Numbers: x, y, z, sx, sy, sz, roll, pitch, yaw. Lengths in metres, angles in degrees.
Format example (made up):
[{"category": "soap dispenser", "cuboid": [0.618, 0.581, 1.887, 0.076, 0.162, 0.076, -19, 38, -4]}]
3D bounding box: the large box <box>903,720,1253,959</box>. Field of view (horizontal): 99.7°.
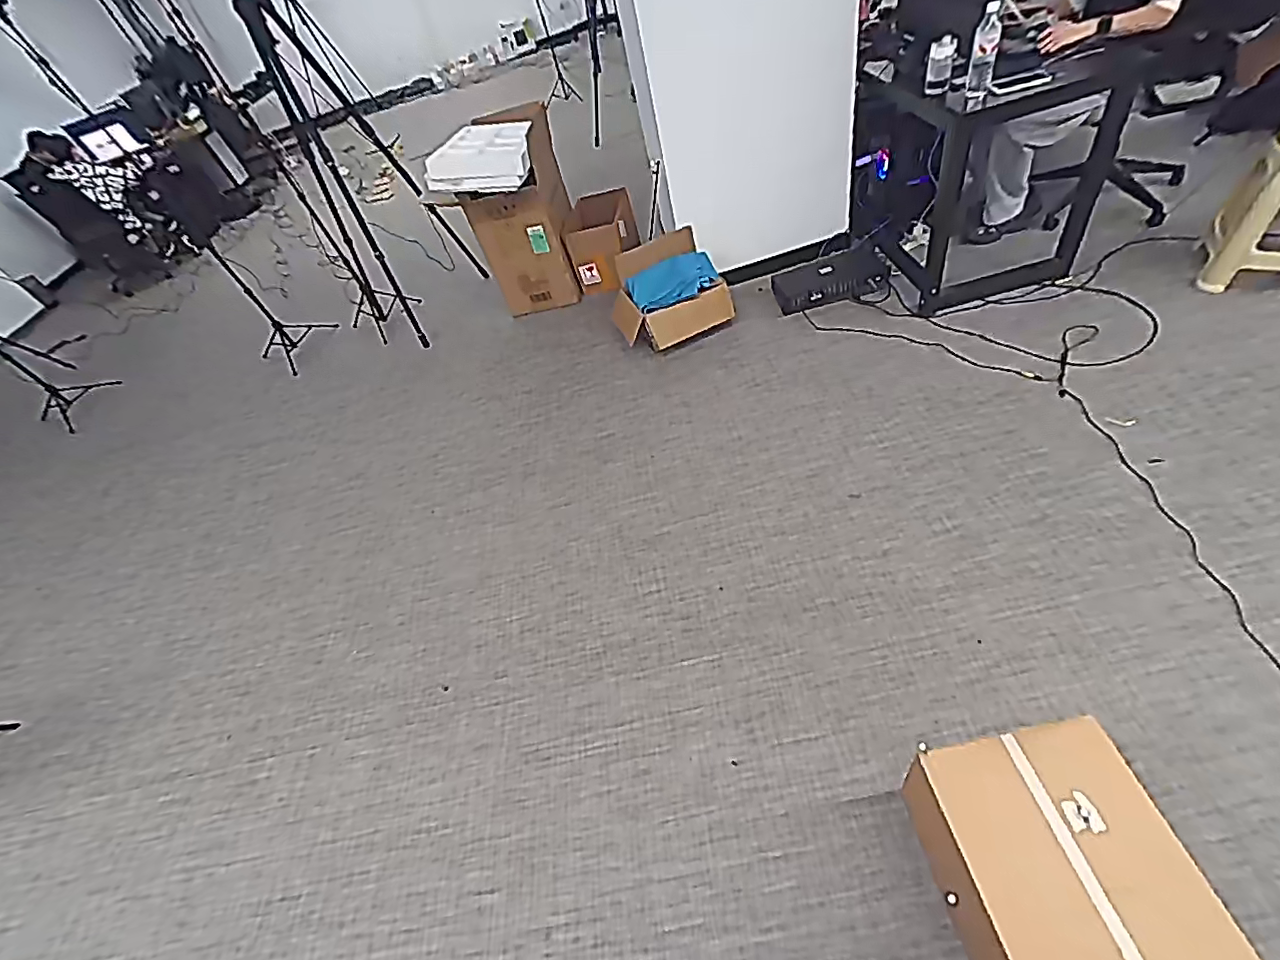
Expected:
[{"category": "large box", "cuboid": [0.722, 0.711, 0.960, 0.320, 0.320, 0.408, -15, 46, 5]}]
